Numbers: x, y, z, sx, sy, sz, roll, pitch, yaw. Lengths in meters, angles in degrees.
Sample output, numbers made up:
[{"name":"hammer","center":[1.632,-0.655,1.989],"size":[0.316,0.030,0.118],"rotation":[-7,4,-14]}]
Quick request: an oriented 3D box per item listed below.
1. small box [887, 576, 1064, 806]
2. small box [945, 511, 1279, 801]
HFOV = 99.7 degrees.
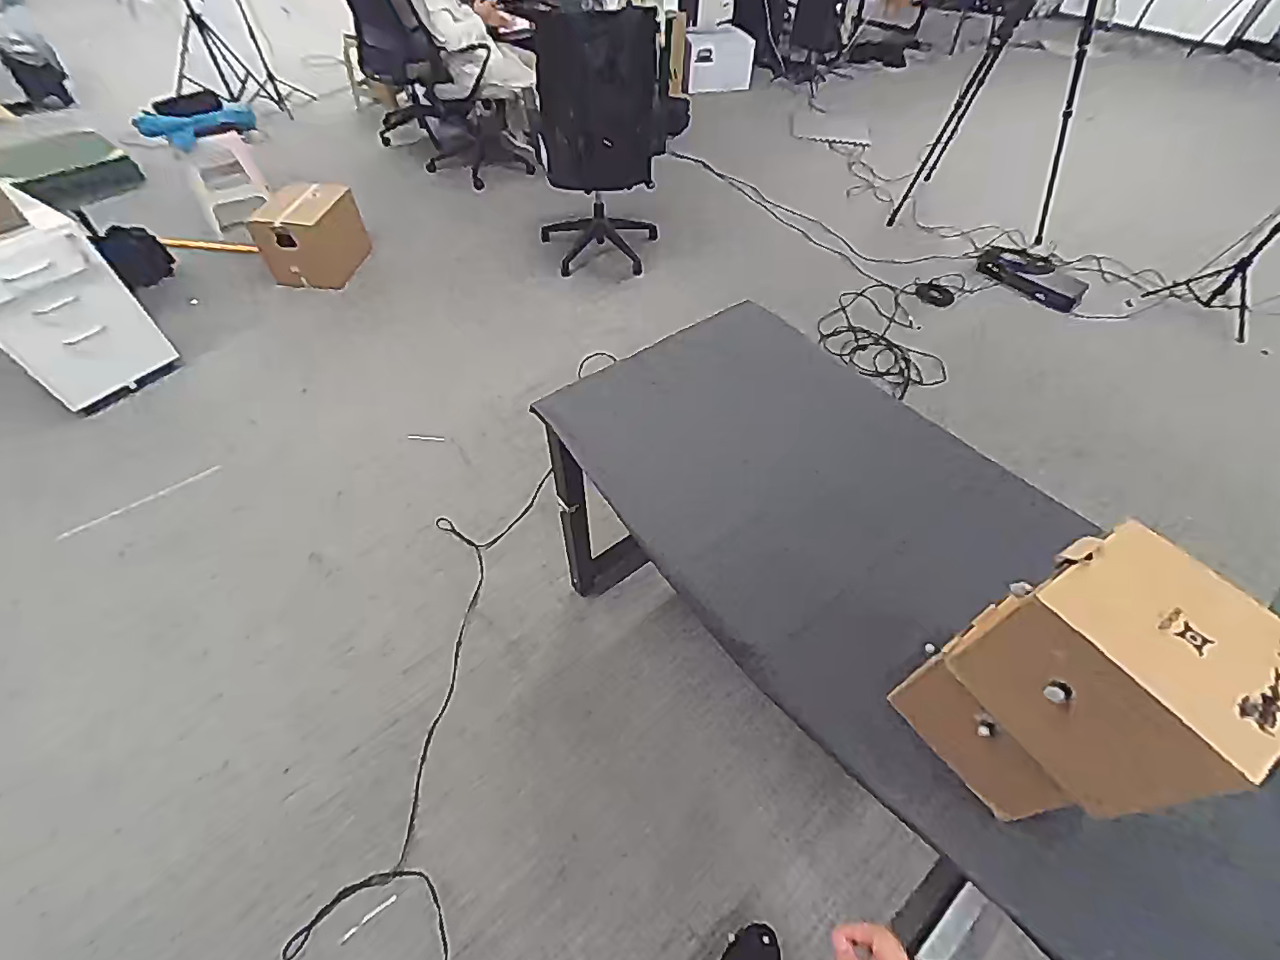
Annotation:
[{"name":"small box","center":[0.440,0.257,0.655],"size":[0.168,0.176,0.179],"rotation":[-28,58,-23]},{"name":"small box","center":[0.440,0.168,0.516],"size":[0.168,0.176,0.179],"rotation":[-25,55,-21]}]
